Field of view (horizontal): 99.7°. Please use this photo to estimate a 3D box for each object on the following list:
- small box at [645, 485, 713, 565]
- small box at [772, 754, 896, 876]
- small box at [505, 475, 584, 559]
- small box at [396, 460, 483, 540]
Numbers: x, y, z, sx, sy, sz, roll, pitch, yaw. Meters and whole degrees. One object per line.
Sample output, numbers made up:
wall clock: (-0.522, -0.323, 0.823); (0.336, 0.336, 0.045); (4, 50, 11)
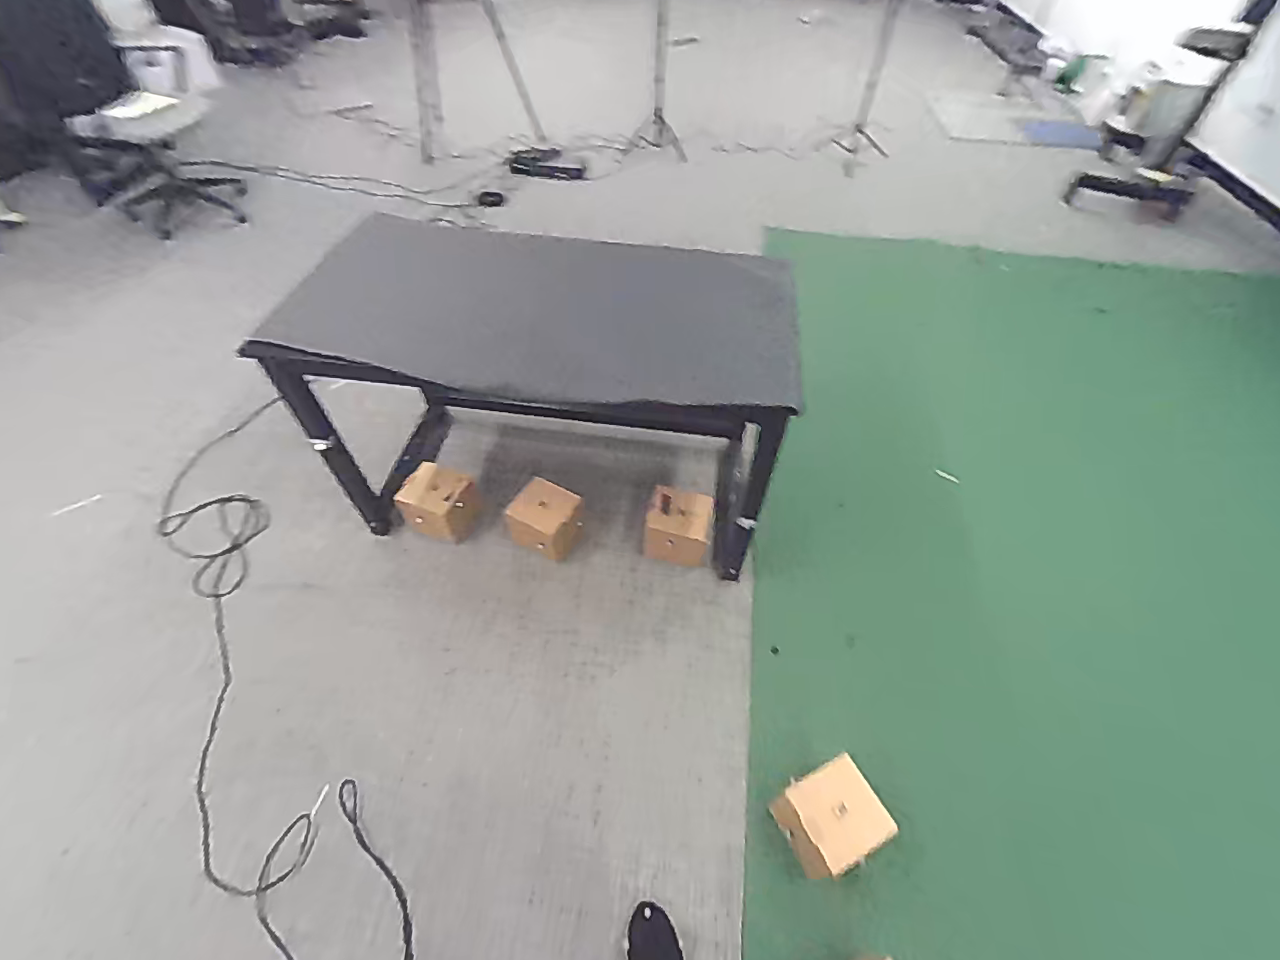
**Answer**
small box: (0.118, 0.143, 1.673); (0.179, 0.176, 0.168); (12, 52, 7)
small box: (0.418, 0.741, 1.197); (0.179, 0.176, 0.168); (-22, 55, -17)
small box: (-0.288, 0.121, 1.682); (0.179, 0.176, 0.168); (23, 53, 18)
small box: (-0.629, 0.068, 1.719); (0.179, 0.176, 0.168); (16, 53, 13)
